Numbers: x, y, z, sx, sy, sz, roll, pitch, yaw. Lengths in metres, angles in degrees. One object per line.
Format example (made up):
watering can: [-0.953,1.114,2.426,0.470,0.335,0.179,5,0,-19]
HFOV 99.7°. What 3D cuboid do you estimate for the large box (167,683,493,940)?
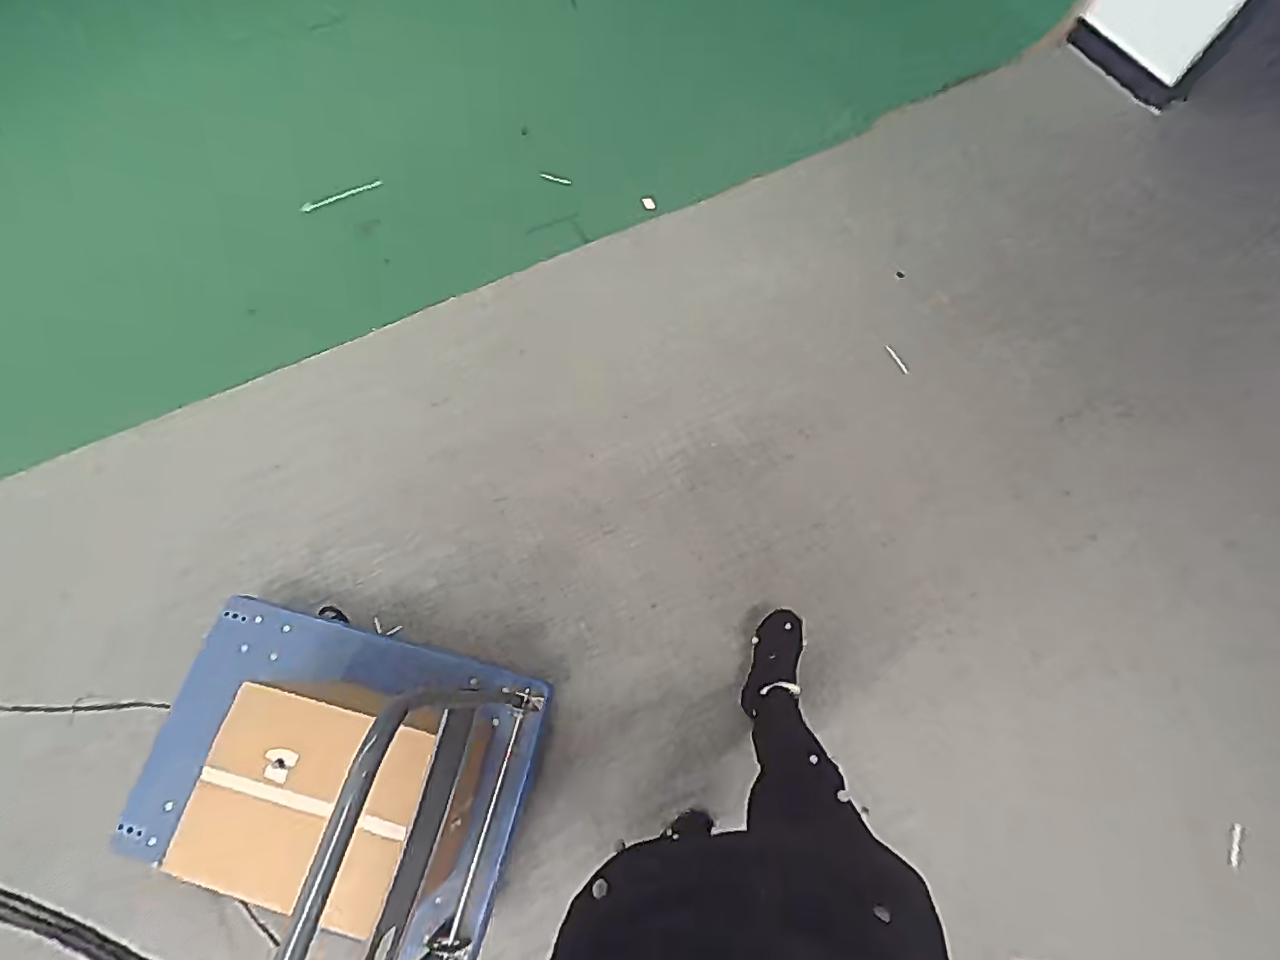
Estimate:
large box: [-0.563,0.608,1.071,0.408,0.320,0.320,12,70,8]
